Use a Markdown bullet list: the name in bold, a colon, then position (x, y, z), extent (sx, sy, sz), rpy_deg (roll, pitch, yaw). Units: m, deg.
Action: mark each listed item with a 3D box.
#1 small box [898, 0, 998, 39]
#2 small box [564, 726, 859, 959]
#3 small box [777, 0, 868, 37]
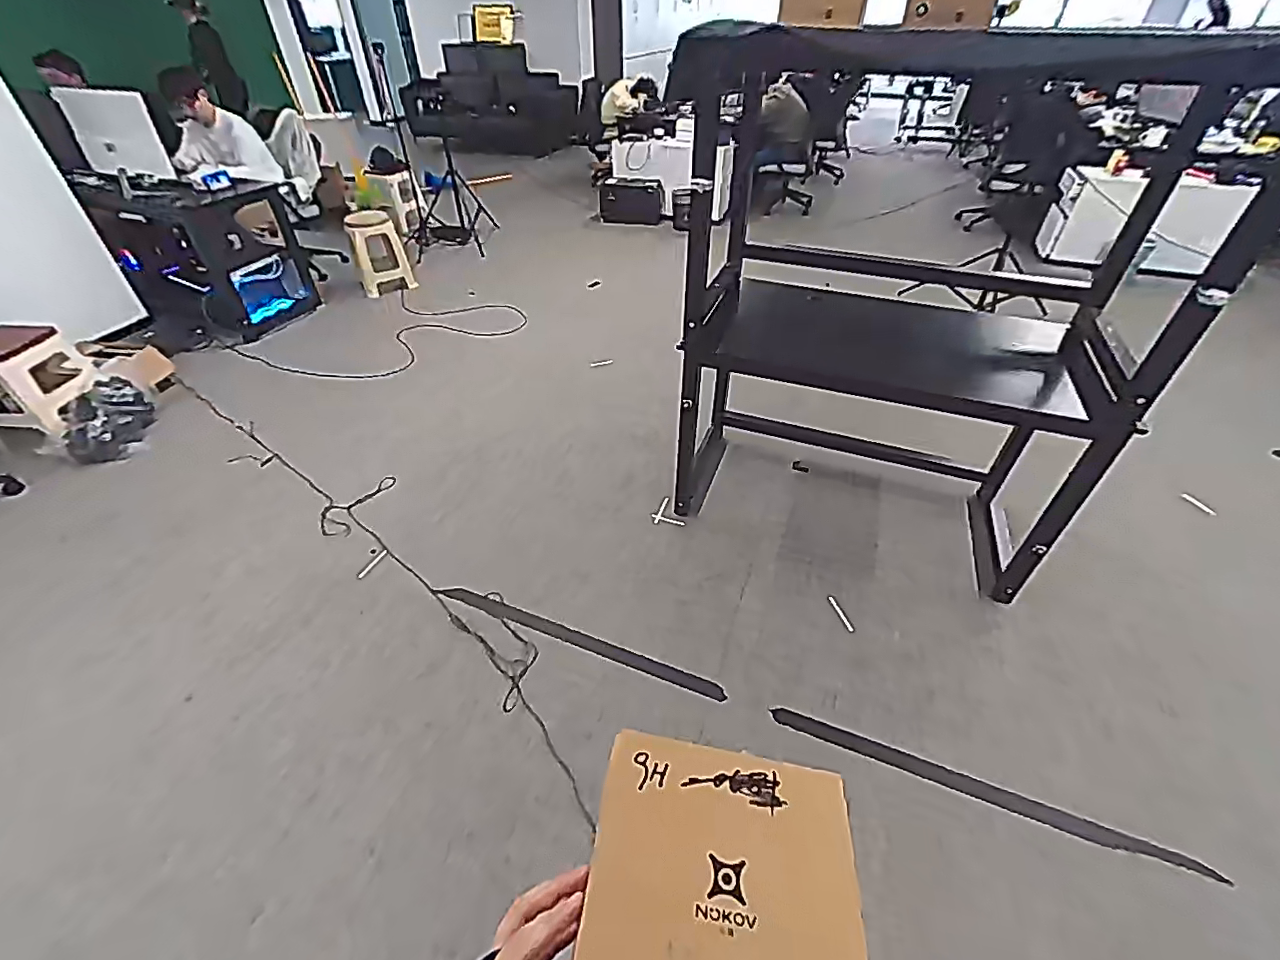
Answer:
- **small box**: position (0.624, -0.987, 1.069), extent (0.168, 0.176, 0.179), rpy_deg (15, 40, 17)
- **small box**: position (0.038, 0.307, 0.373), extent (0.168, 0.176, 0.179), rpy_deg (11, 40, 2)
- **small box**: position (0.389, -1.028, 1.118), extent (0.168, 0.176, 0.179), rpy_deg (15, 41, 15)
